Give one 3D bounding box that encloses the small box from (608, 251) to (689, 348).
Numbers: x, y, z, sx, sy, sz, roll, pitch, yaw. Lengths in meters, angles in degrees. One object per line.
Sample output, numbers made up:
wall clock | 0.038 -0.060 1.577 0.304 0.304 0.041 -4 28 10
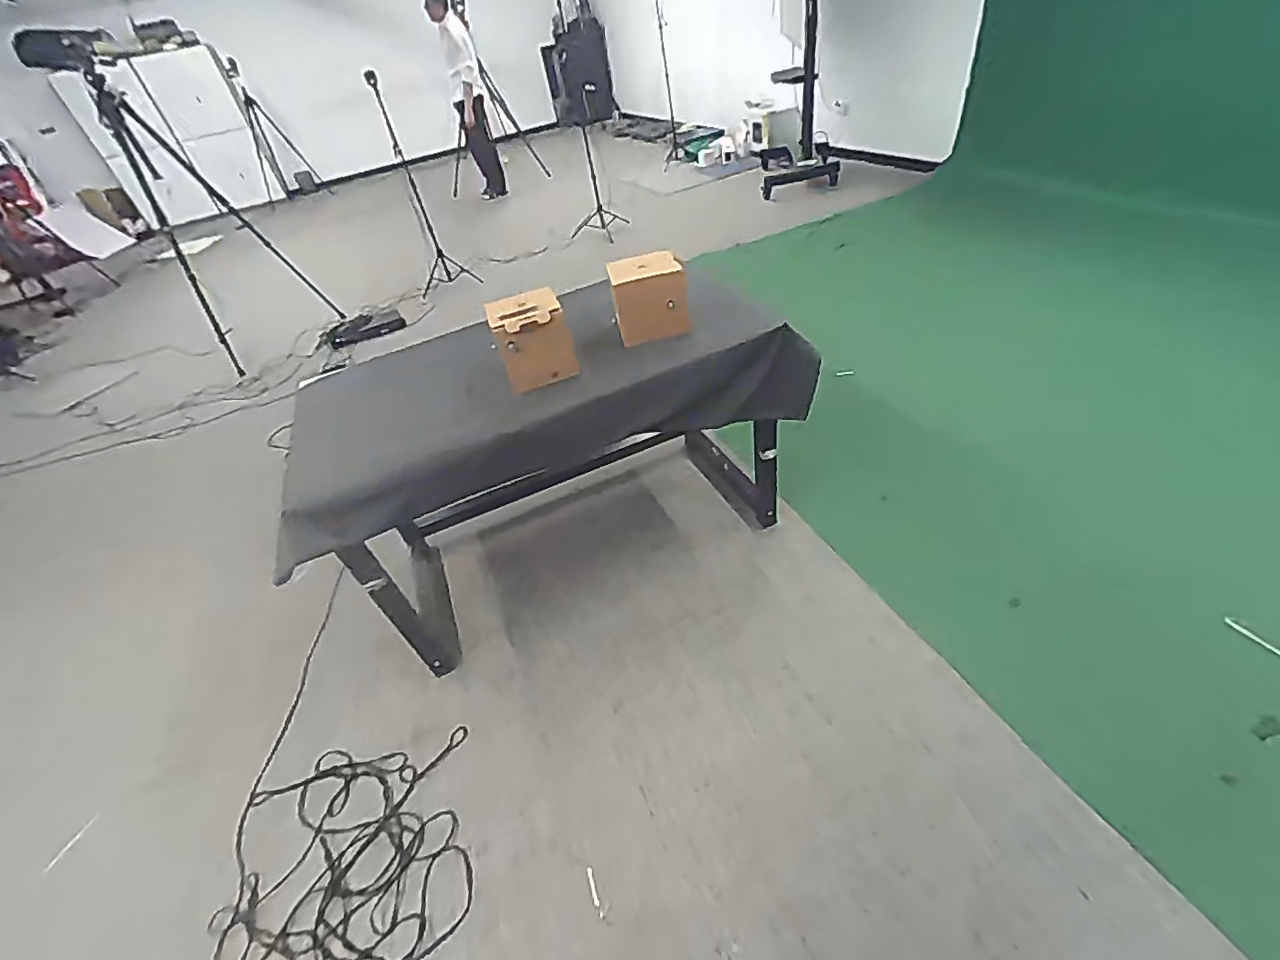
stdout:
small box | 0.025 -0.461 1.389 0.179 0.176 0.168 -14 39 -1
